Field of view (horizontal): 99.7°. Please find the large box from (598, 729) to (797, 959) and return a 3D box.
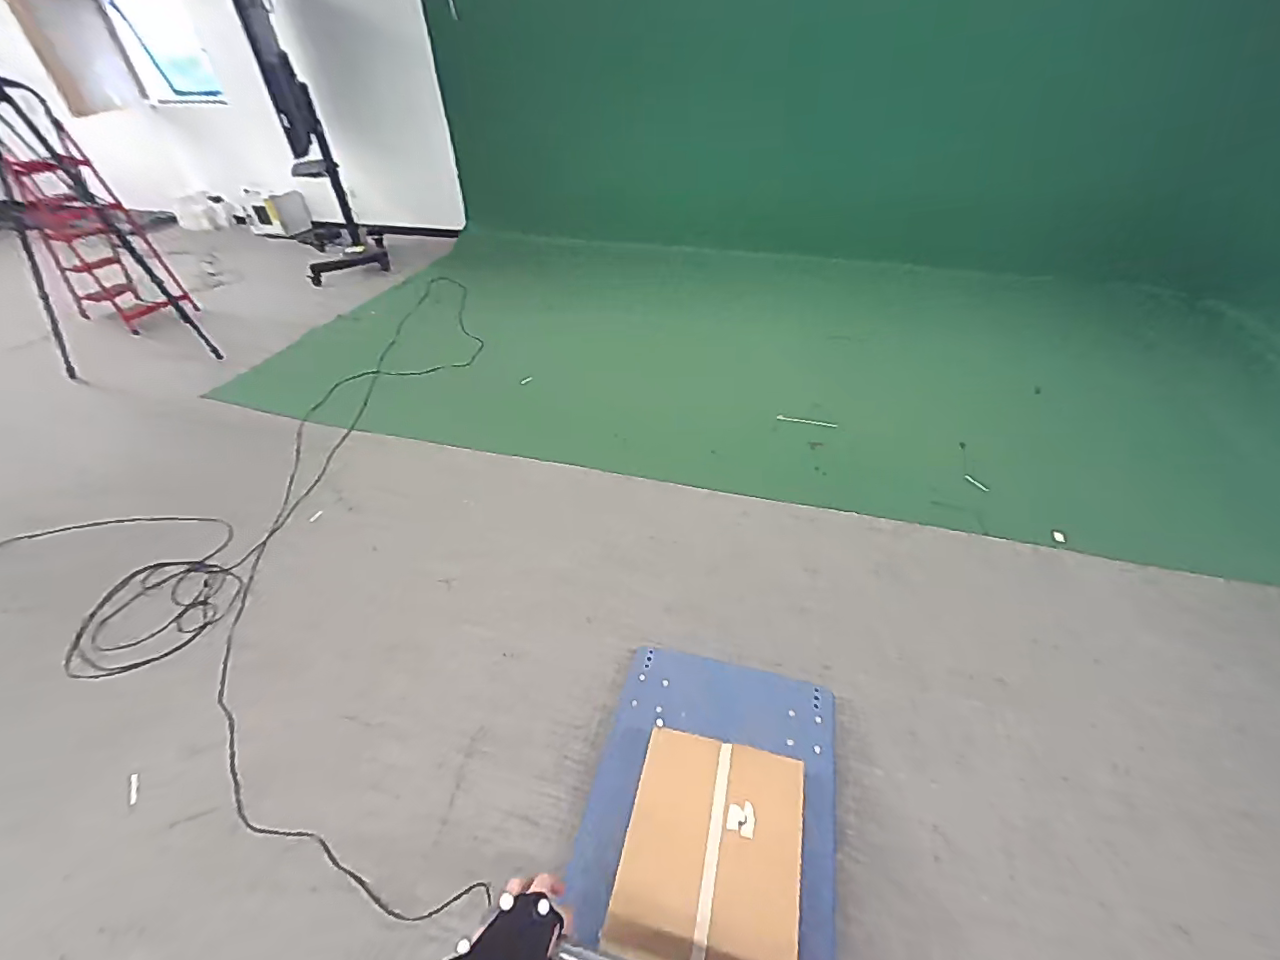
[{"bbox_3d":[0.129,0.793,1.077,0.320,0.320,0.408,9,40,12],"label":"large box"}]
